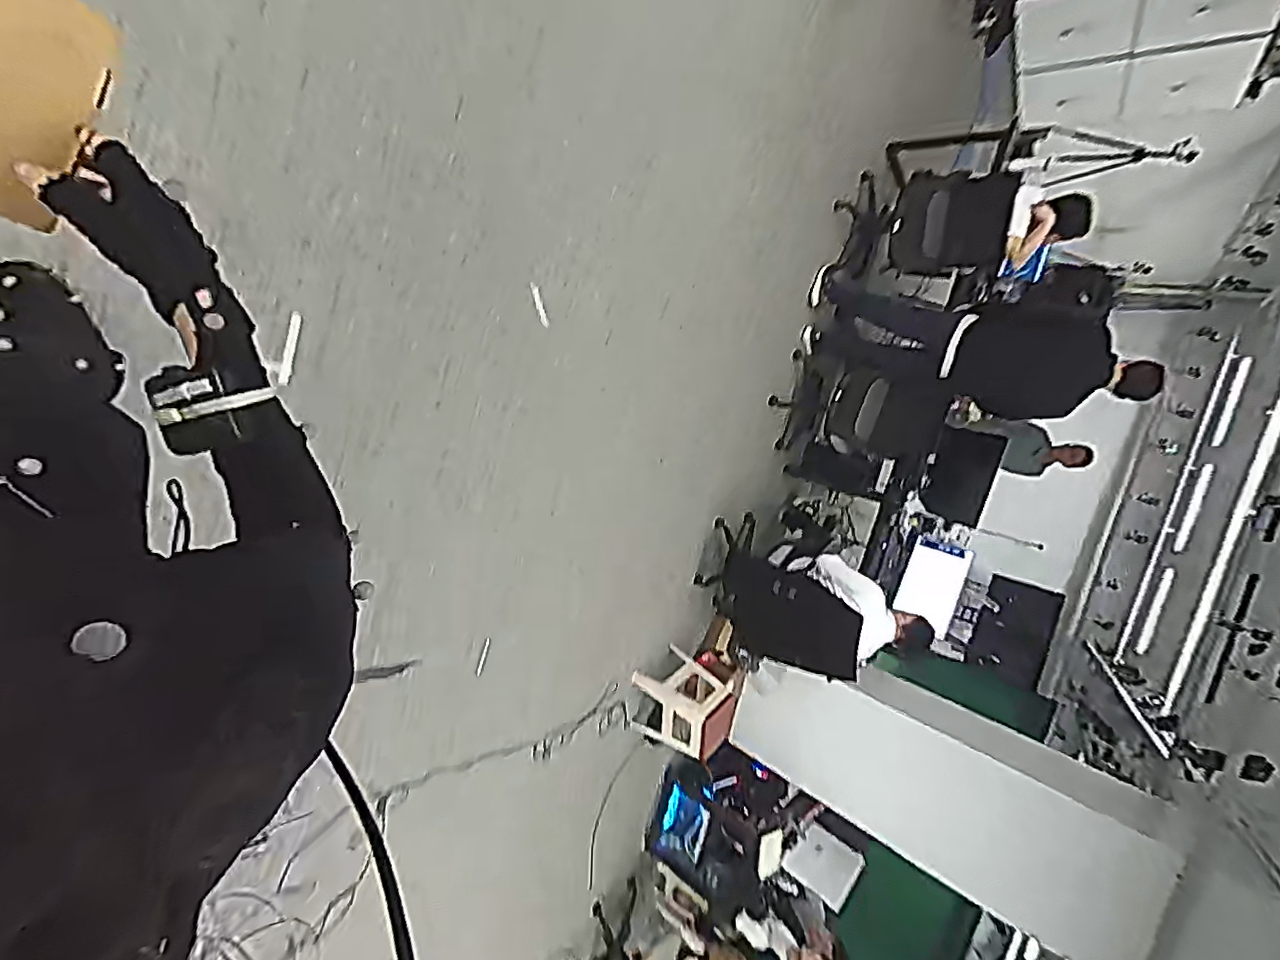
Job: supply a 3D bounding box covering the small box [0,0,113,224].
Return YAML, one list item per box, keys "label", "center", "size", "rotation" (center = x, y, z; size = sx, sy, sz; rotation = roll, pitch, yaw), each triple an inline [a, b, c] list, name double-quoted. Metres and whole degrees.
- label: "small box"
  center: [-0.520, -0.315, 0.367]
  size: [0.168, 0.176, 0.179]
  rotation: [-60, 150, 8]
